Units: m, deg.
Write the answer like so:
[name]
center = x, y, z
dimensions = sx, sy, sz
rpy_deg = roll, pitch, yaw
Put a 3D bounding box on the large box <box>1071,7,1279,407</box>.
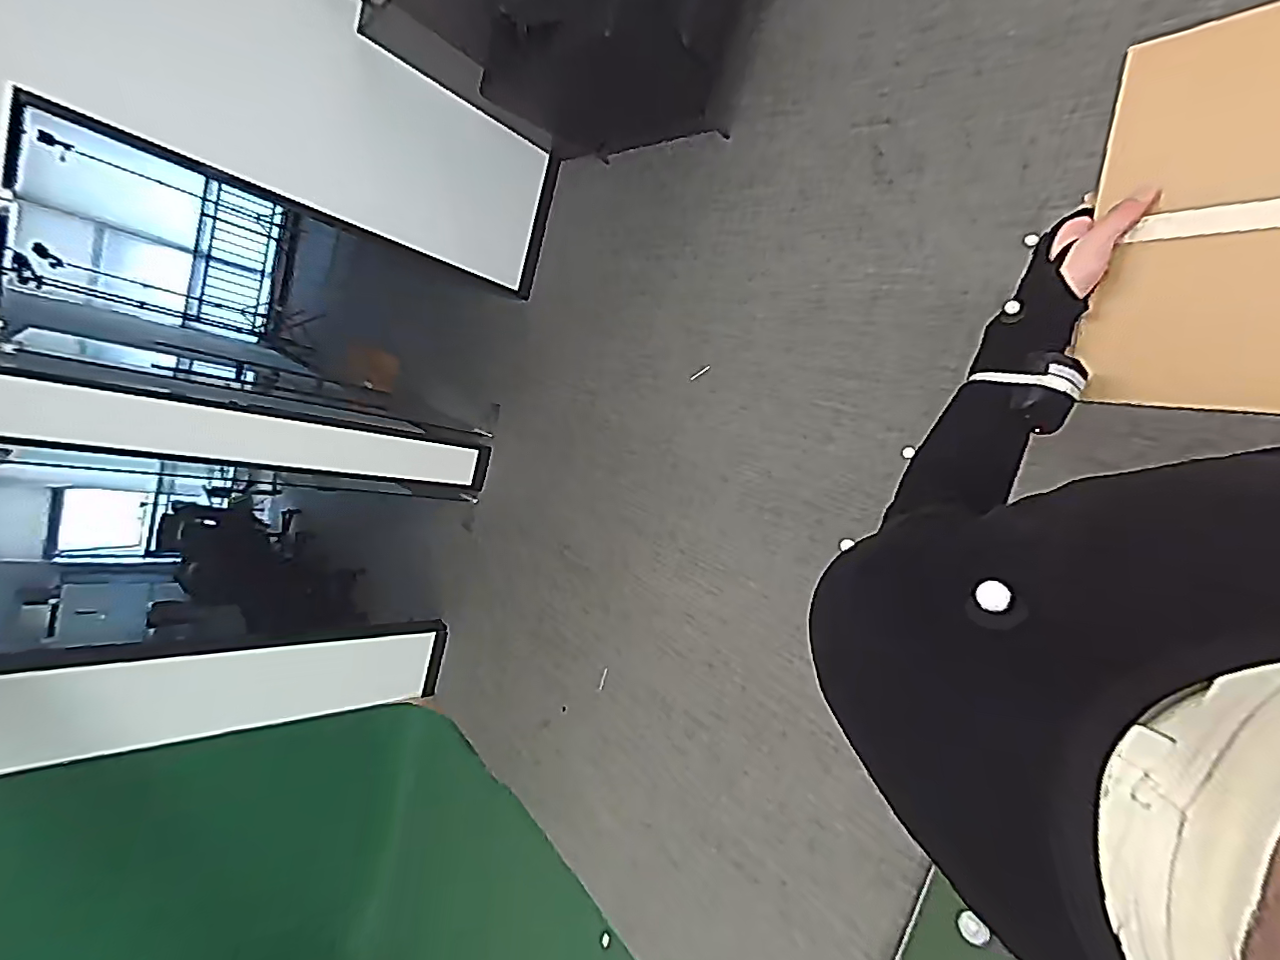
[large box]
center = 0.680, -0.219, 0.476
dimensions = 0.408, 0.320, 0.320
rpy_deg = 14, 106, 46
